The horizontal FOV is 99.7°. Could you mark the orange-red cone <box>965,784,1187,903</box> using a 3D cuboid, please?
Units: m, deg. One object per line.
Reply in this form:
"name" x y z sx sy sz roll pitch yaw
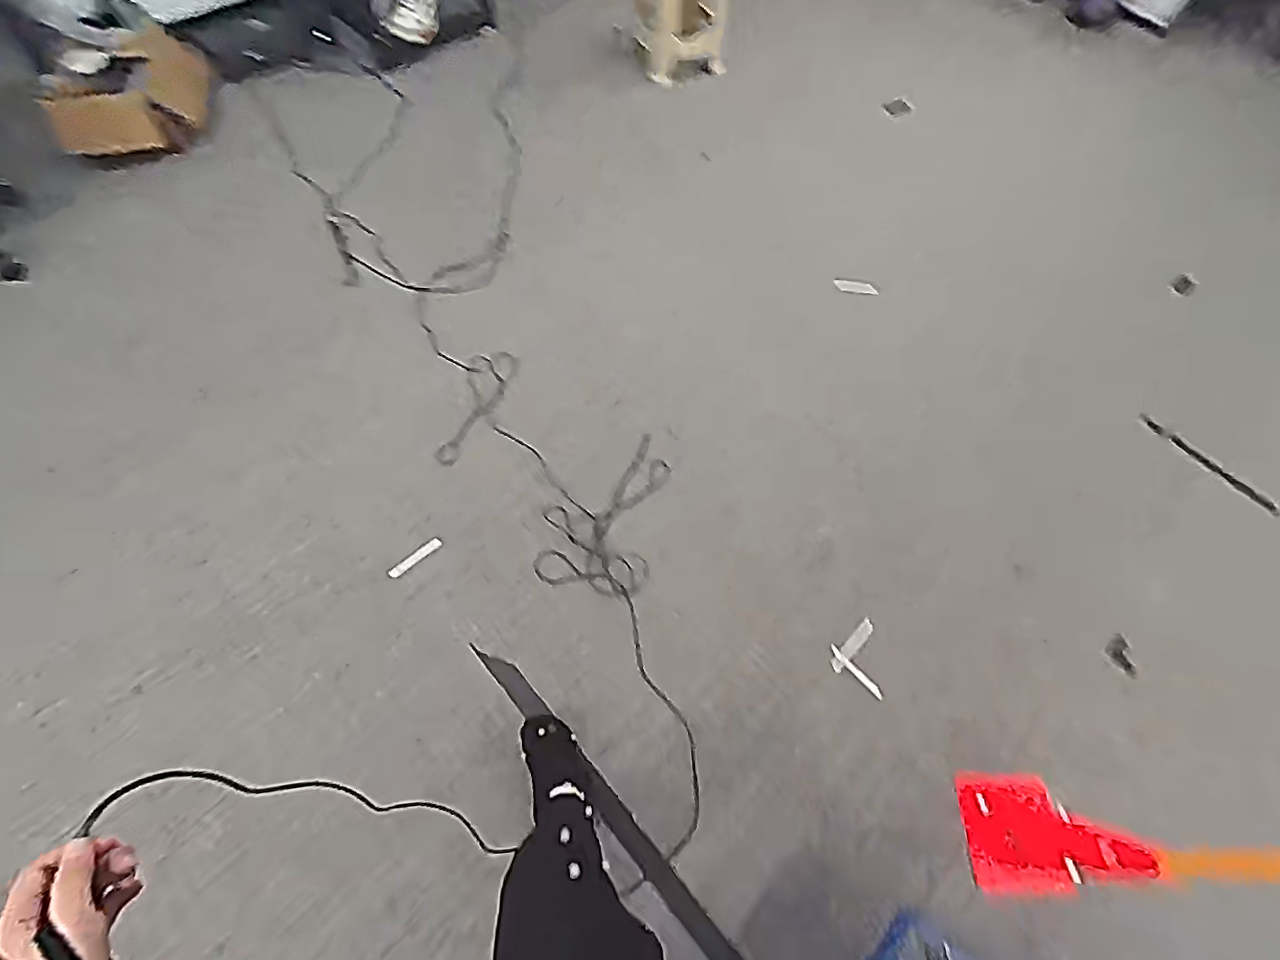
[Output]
"orange-red cone" 0.782 0.667 0.954 0.198 0.360 0.199 4 64 0
